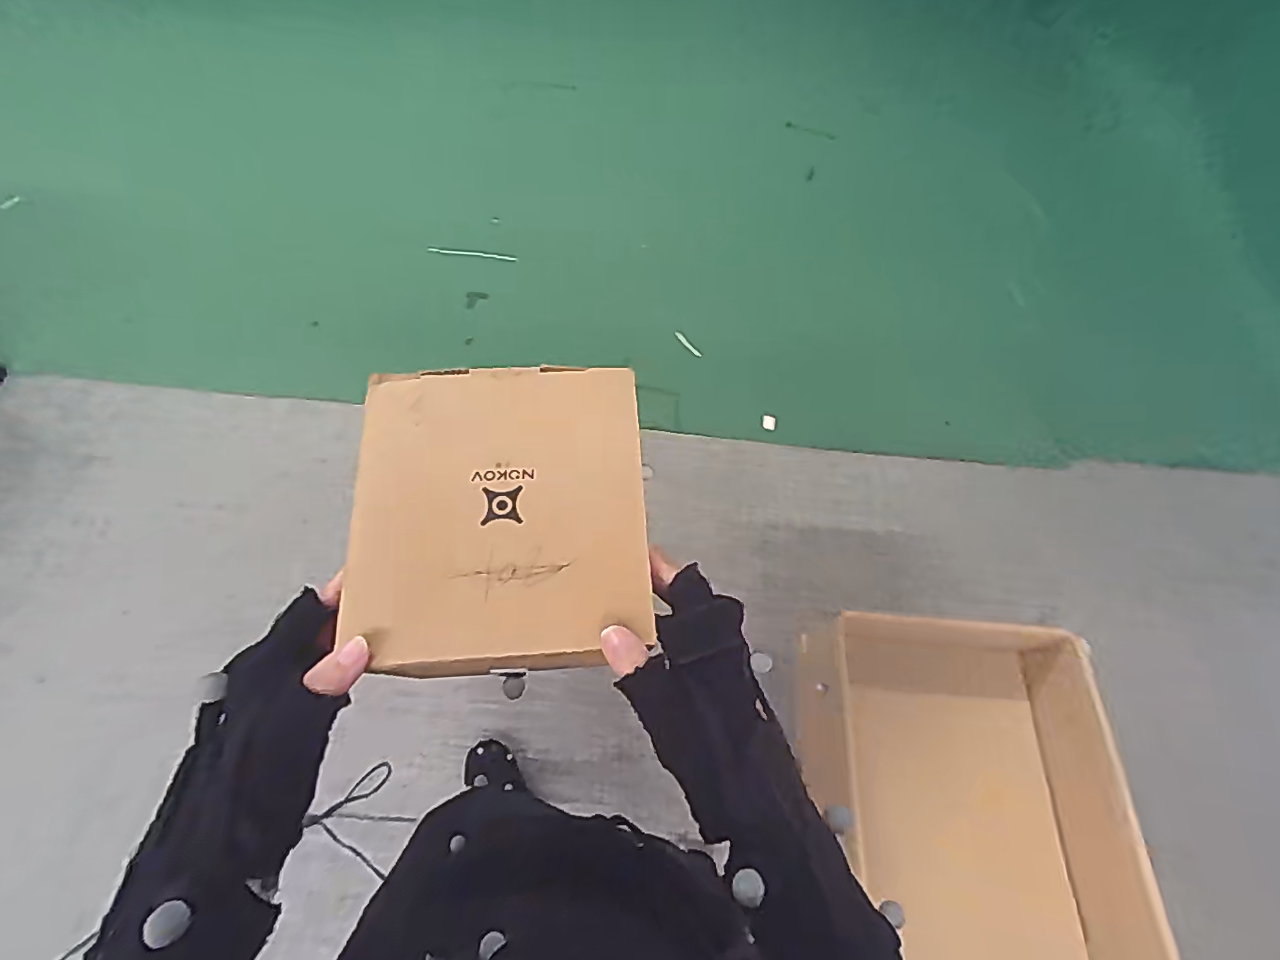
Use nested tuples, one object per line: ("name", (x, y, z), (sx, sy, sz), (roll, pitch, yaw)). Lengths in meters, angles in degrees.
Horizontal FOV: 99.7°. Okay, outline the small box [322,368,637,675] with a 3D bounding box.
("small box", (-0.094, 0.040, 0.389), (0.168, 0.176, 0.179), (-3, 69, -5))
